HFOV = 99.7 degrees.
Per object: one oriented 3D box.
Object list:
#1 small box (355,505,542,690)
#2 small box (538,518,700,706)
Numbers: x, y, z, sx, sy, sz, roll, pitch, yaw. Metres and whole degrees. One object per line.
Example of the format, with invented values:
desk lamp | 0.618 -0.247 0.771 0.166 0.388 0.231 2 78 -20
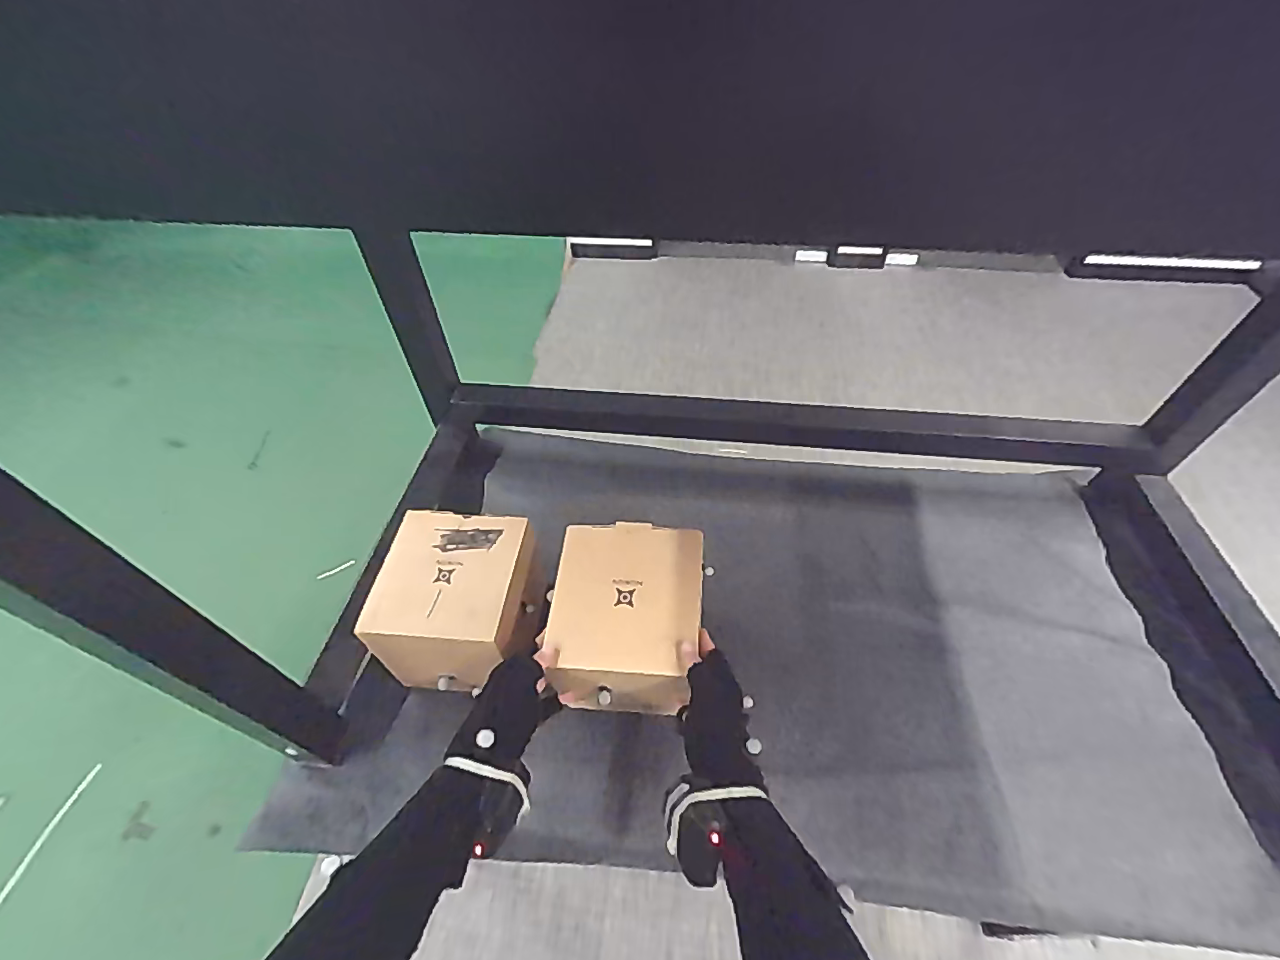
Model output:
small box | -0.234 0.155 0.717 0.168 0.176 0.179 3 49 4
small box | -0.012 0.165 0.665 0.168 0.176 0.179 1 53 7
